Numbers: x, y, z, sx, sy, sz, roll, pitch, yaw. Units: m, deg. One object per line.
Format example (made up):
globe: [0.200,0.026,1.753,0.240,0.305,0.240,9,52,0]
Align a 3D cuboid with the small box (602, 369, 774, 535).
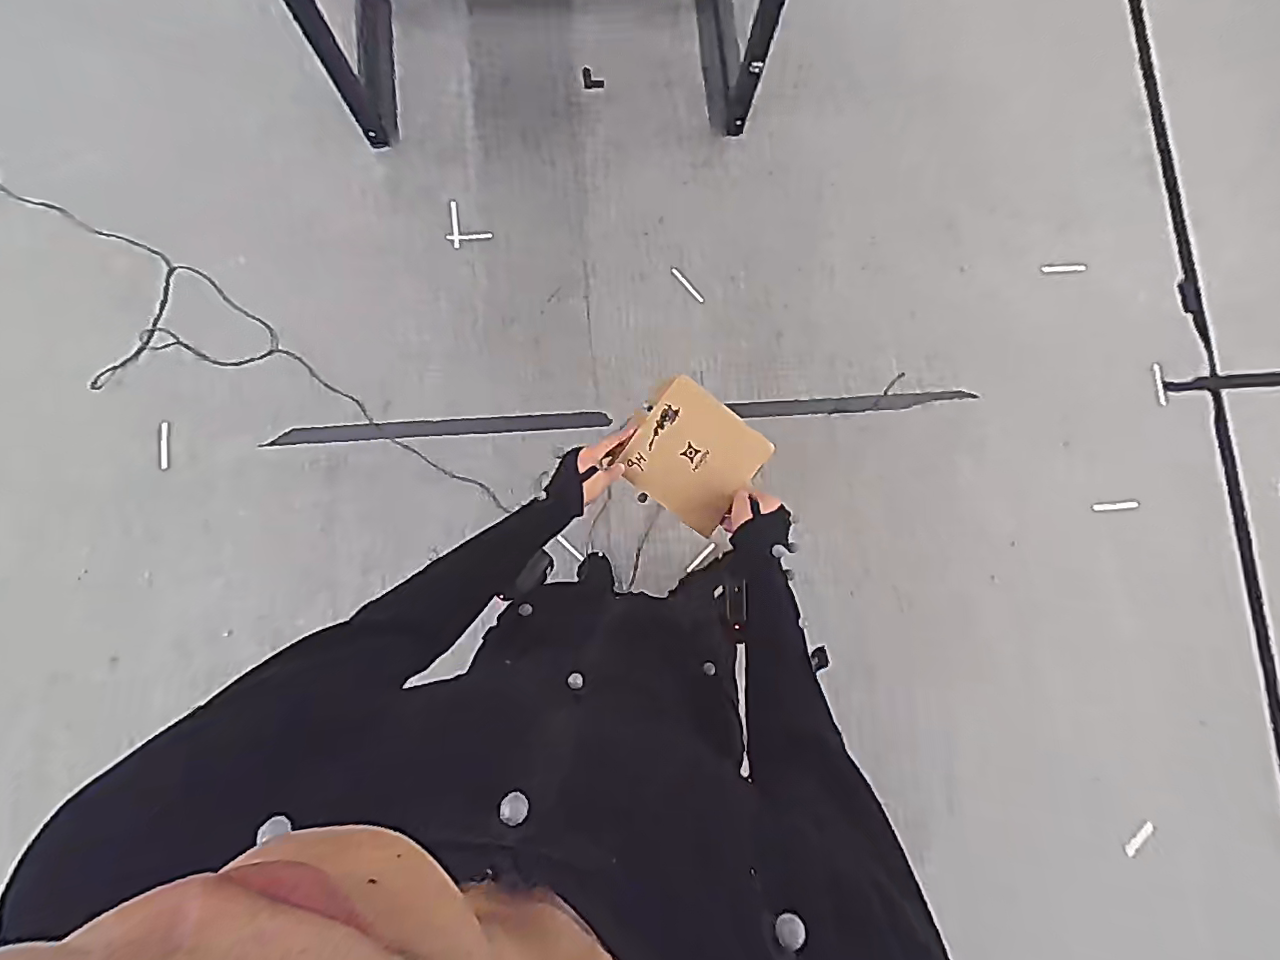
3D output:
small box: [0.061,-0.045,0.813,0.179,0.176,0.168,36,90,-10]
